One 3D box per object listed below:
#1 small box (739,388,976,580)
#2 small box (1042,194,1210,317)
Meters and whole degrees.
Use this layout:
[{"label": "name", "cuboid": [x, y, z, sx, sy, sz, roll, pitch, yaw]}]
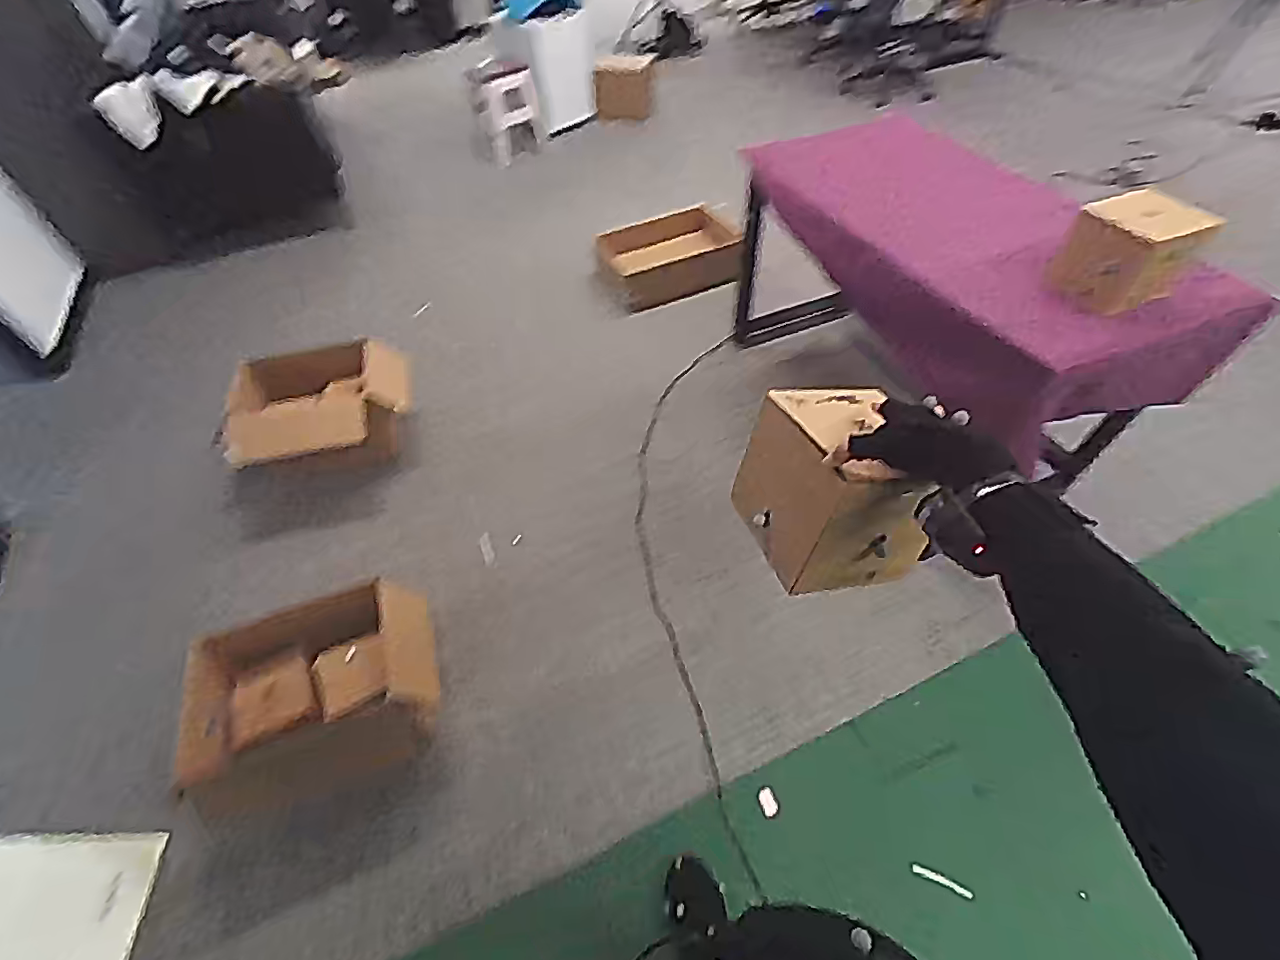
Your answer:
[{"label": "small box", "cuboid": [0.241, 0.006, 0.651, 0.168, 0.176, 0.179, -2, 40, -19]}, {"label": "small box", "cuboid": [1.000, -0.468, 1.138, 0.179, 0.176, 0.168, -19, 53, -12]}]
